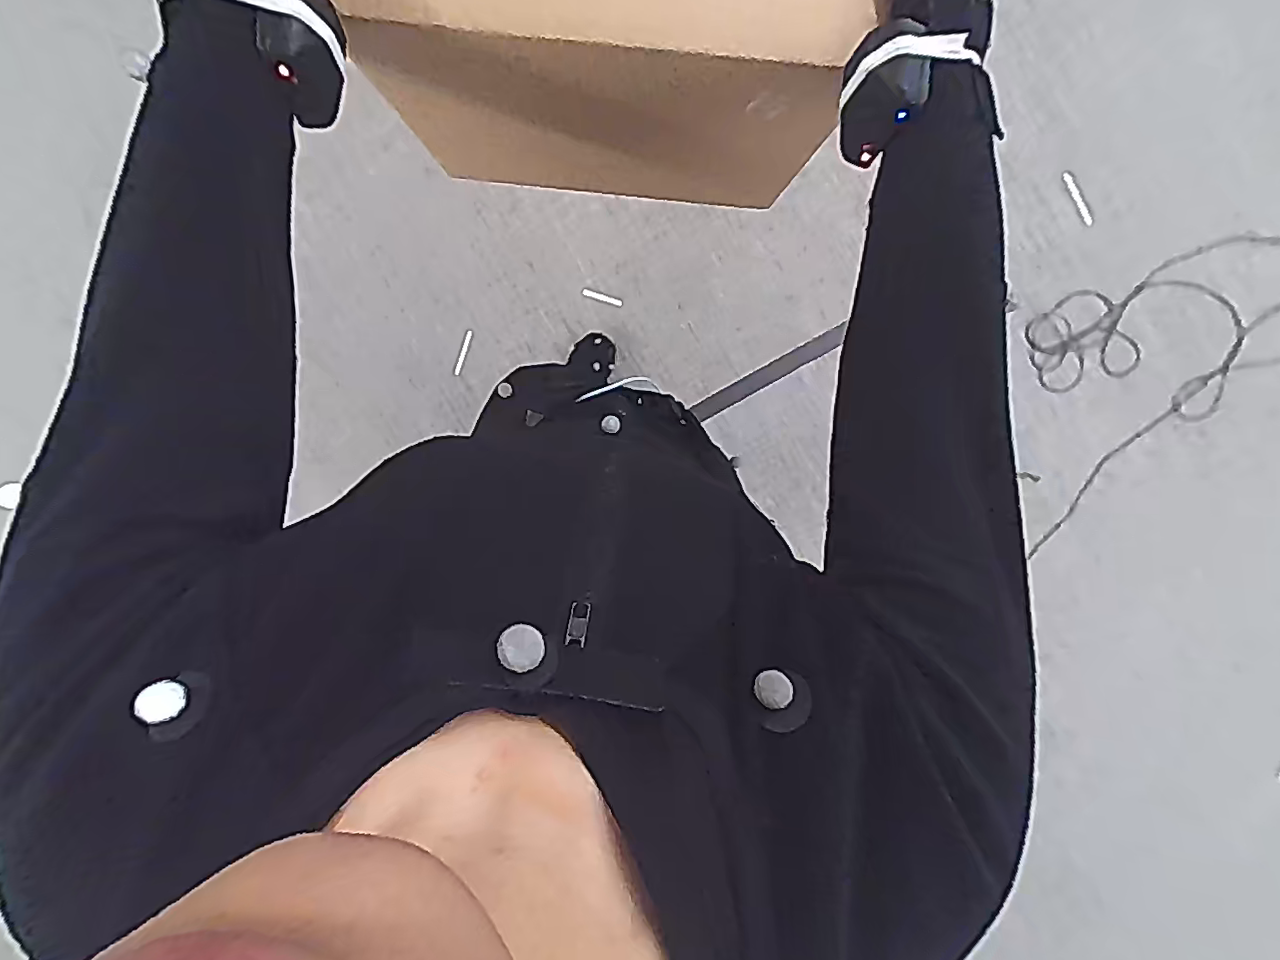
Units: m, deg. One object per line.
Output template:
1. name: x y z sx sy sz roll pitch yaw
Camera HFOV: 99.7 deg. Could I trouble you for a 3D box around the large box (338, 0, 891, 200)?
1. large box: -0.013 -0.492 0.510 0.408 0.320 0.320 5 100 -3
